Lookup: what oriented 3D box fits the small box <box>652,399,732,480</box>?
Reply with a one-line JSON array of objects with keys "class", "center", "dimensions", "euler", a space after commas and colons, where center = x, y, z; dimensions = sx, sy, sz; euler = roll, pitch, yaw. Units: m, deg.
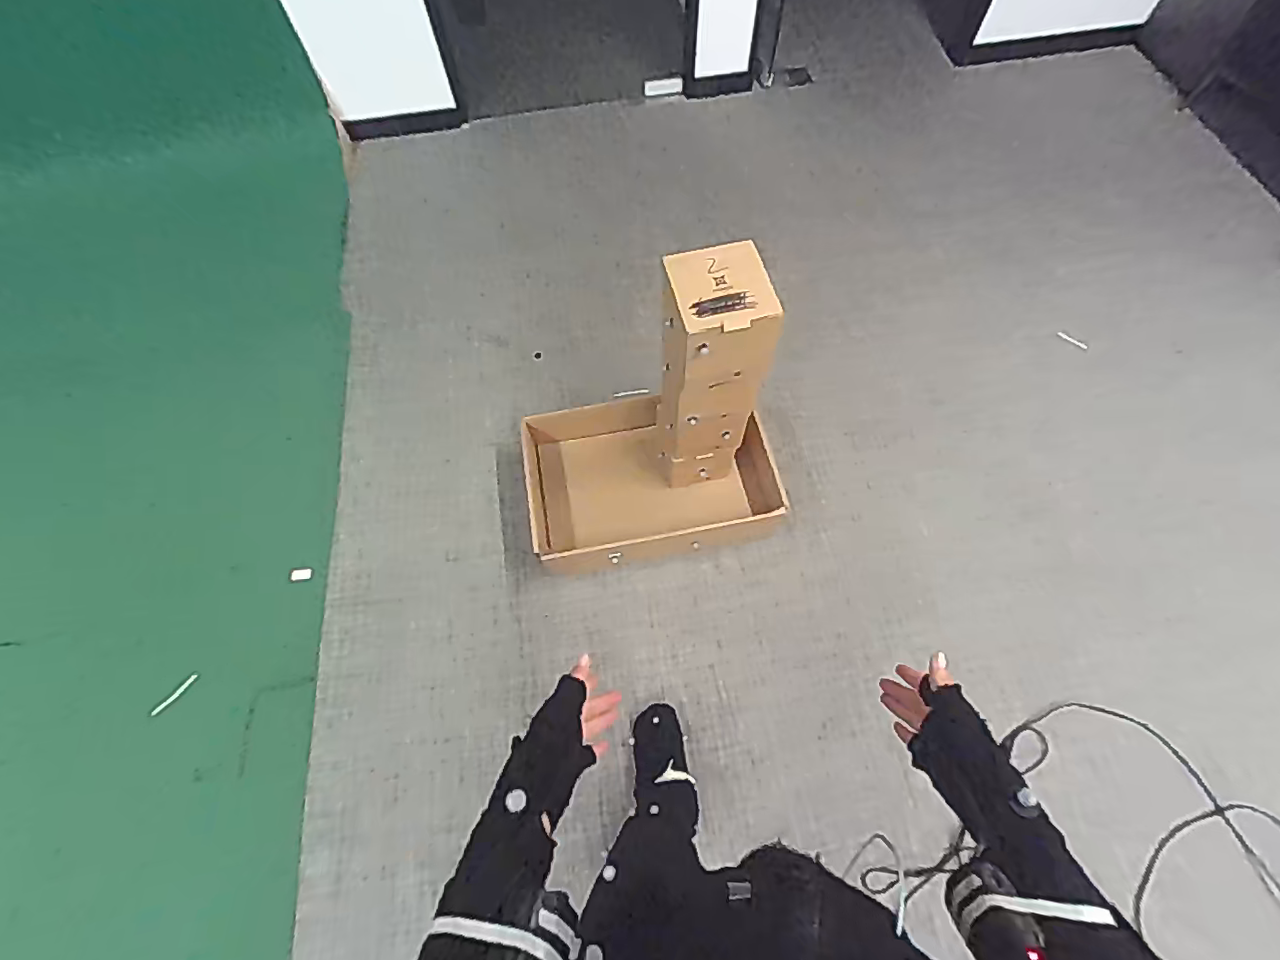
[{"class": "small box", "center": [0.136, -0.116, 1.434], "dimensions": [0.168, 0.176, 0.179], "euler": [-15, 66, -3]}]

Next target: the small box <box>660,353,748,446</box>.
[{"class": "small box", "center": [0.144, -0.194, 1.270], "dimensions": [0.168, 0.176, 0.179], "euler": [-11, 66, -3]}]

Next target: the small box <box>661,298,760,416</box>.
[{"class": "small box", "center": [0.140, -0.247, 1.133], "dimensions": [0.168, 0.176, 0.179], "euler": [-9, 66, -3]}]
